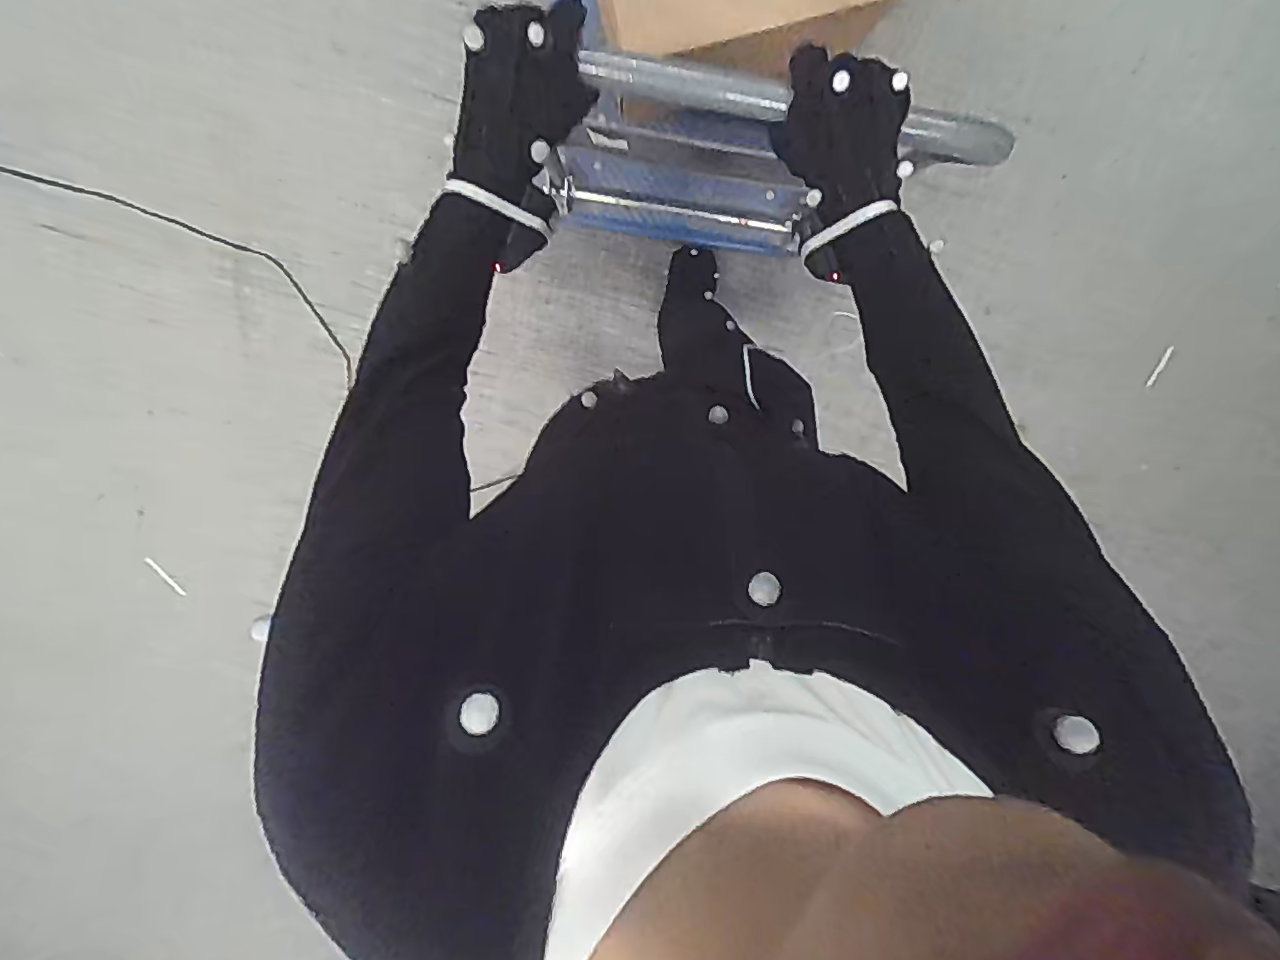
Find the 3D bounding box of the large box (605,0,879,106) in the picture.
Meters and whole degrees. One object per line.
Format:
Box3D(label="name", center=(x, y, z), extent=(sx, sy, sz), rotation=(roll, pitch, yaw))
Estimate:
Box3D(label="large box", center=(0.137, -0.835, 0.832), extent=(0.408, 0.320, 0.320), rotation=(-12, 110, 4))
